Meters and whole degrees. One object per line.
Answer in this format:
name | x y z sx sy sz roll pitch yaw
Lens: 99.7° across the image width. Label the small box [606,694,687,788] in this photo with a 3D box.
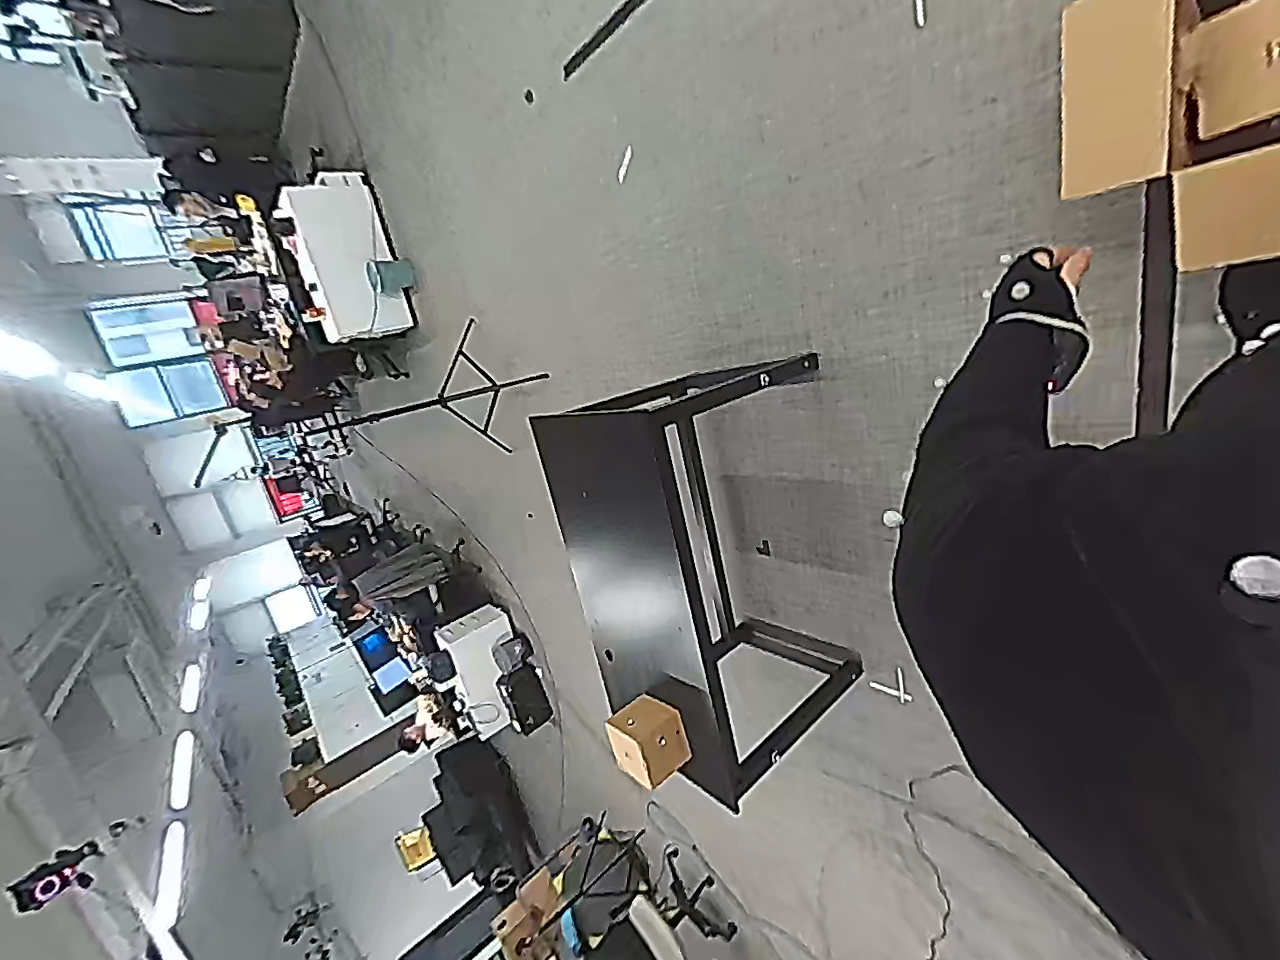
small box | 0.027 0.788 1.657 0.179 0.176 0.168 -1 107 55
